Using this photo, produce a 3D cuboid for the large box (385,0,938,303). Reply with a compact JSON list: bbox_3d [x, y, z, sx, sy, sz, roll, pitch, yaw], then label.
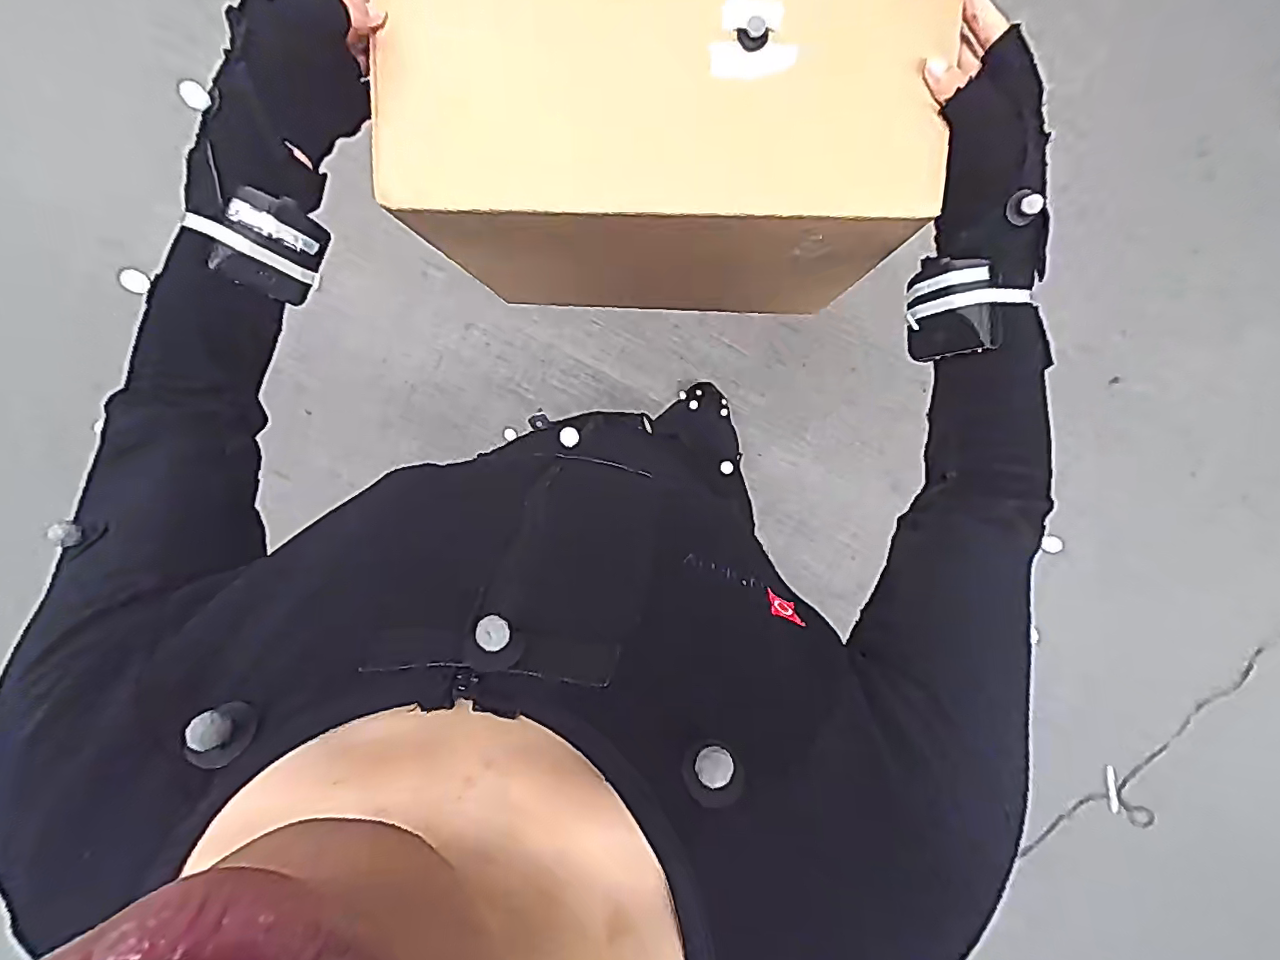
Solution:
[{"bbox_3d":[0.018,-0.369,0.534,0.408,0.320,0.320,2,96,3],"label":"large box"}]
